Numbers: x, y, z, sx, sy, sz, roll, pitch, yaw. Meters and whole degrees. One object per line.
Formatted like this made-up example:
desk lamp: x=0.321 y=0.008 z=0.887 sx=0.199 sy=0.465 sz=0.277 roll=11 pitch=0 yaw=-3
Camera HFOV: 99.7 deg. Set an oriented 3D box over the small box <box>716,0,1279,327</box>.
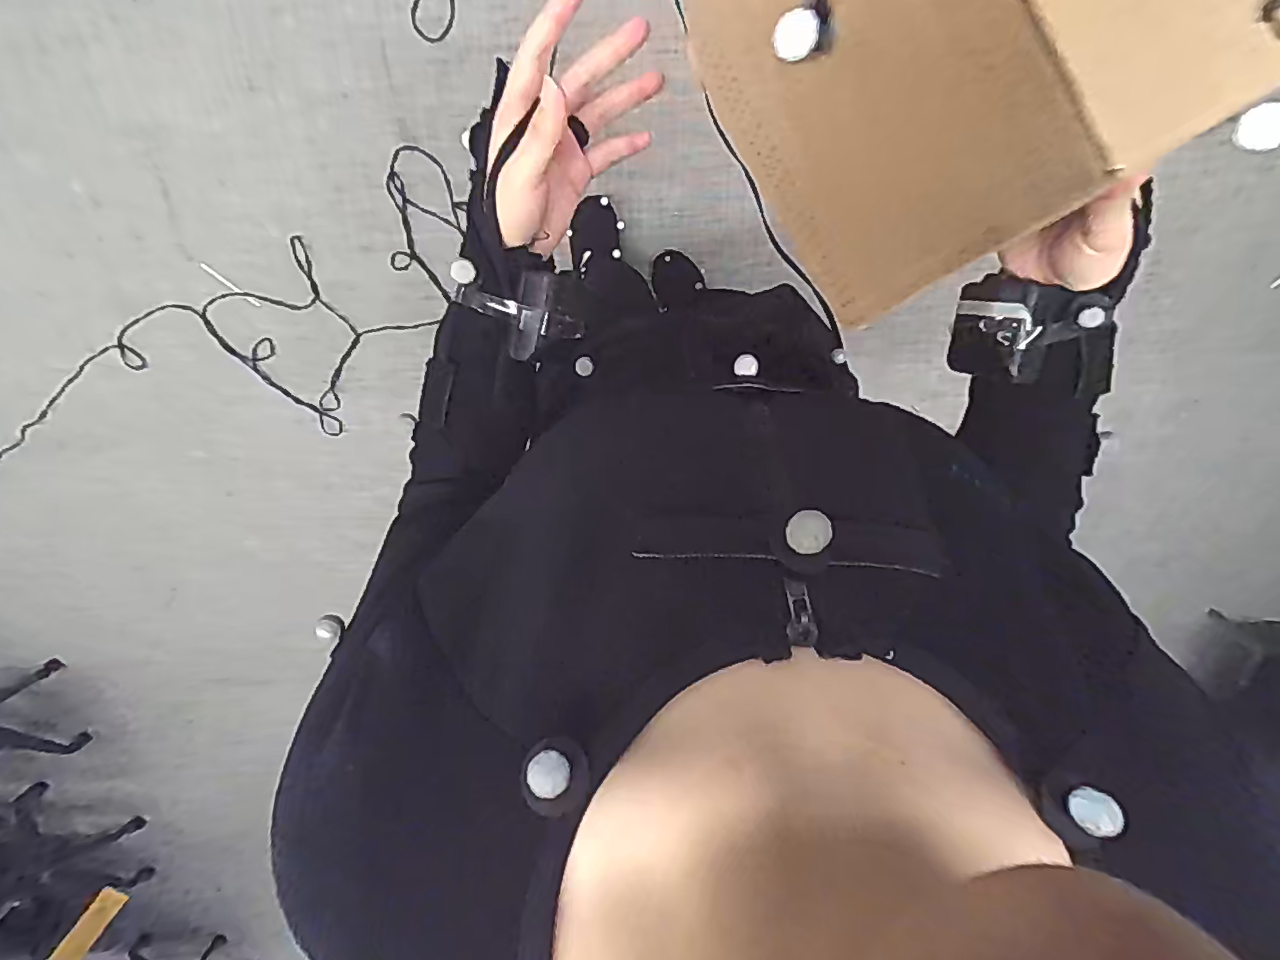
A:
small box: x=0.147 y=-0.190 z=0.218 sx=0.168 sy=0.176 sz=0.179 roll=-32 pitch=92 yaw=1
